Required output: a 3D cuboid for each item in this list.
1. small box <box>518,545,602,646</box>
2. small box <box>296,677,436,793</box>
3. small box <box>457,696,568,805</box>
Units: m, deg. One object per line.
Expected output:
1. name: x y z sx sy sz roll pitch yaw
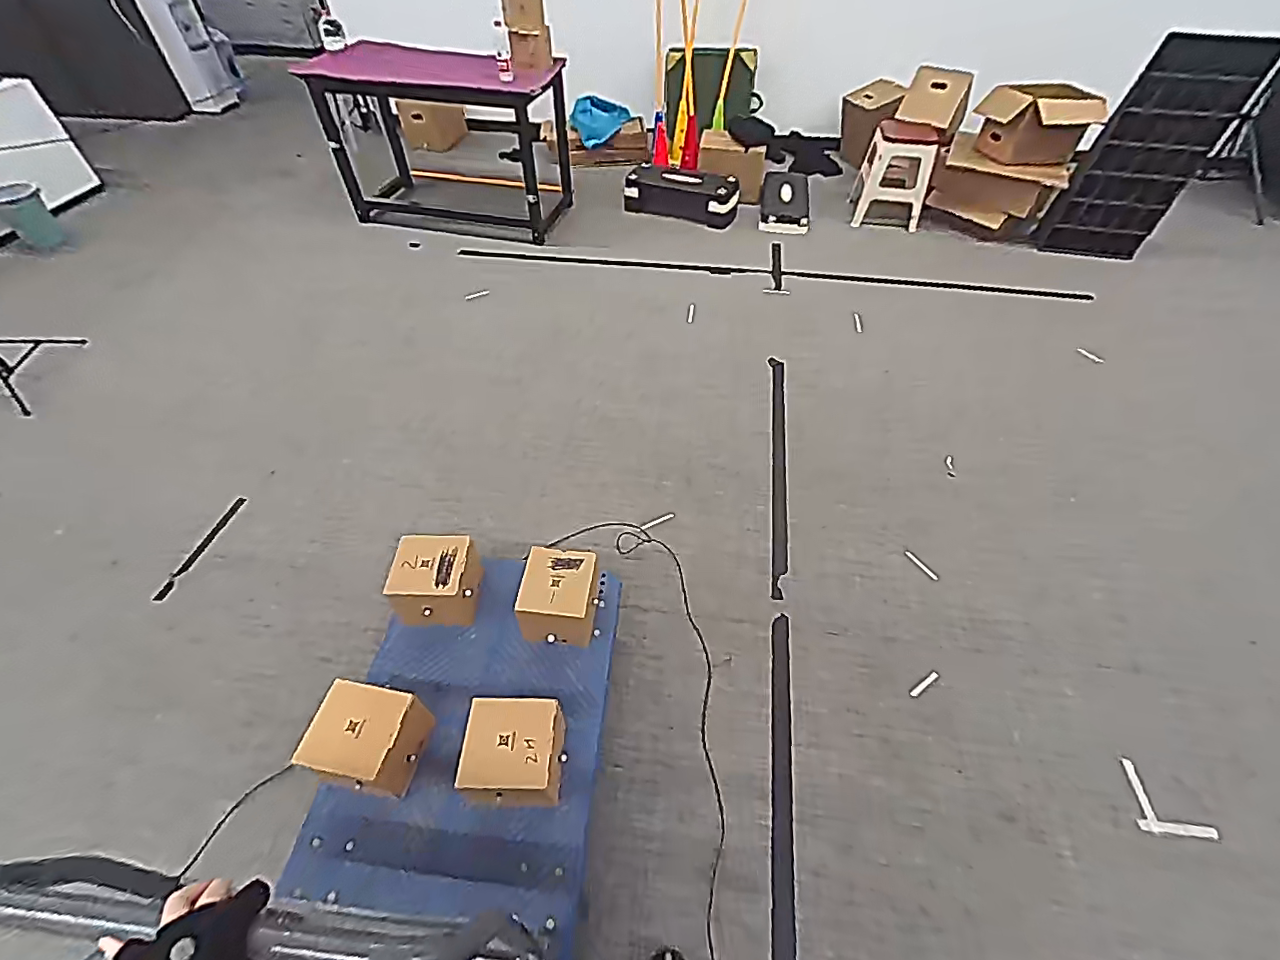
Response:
1. small box: -0.189 0.287 1.340 0.168 0.176 0.179 6 51 4
2. small box: -0.558 0.535 1.127 0.179 0.176 0.168 9 50 6
3. small box: -0.252 0.558 1.110 0.179 0.176 0.168 1 50 1
